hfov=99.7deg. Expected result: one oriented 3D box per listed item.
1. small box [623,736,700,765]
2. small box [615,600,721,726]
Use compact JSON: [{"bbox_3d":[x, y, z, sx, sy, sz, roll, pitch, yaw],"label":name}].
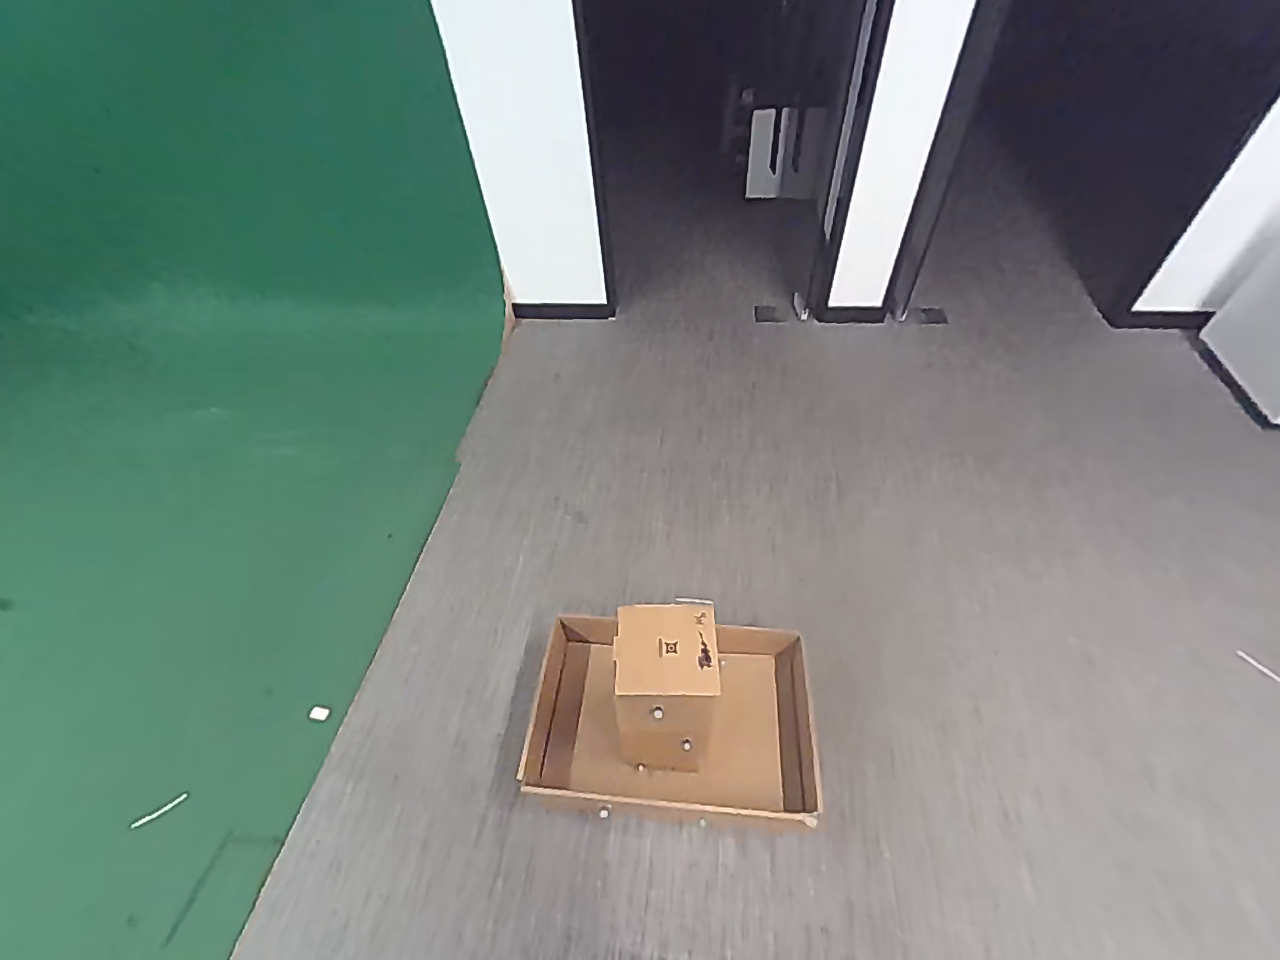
[{"bbox_3d":[0.058,0.540,1.246,0.168,0.176,0.179,2,49,6],"label":"small box"},{"bbox_3d":[0.049,0.339,0.994,0.179,0.176,0.168,-3,46,0],"label":"small box"}]
